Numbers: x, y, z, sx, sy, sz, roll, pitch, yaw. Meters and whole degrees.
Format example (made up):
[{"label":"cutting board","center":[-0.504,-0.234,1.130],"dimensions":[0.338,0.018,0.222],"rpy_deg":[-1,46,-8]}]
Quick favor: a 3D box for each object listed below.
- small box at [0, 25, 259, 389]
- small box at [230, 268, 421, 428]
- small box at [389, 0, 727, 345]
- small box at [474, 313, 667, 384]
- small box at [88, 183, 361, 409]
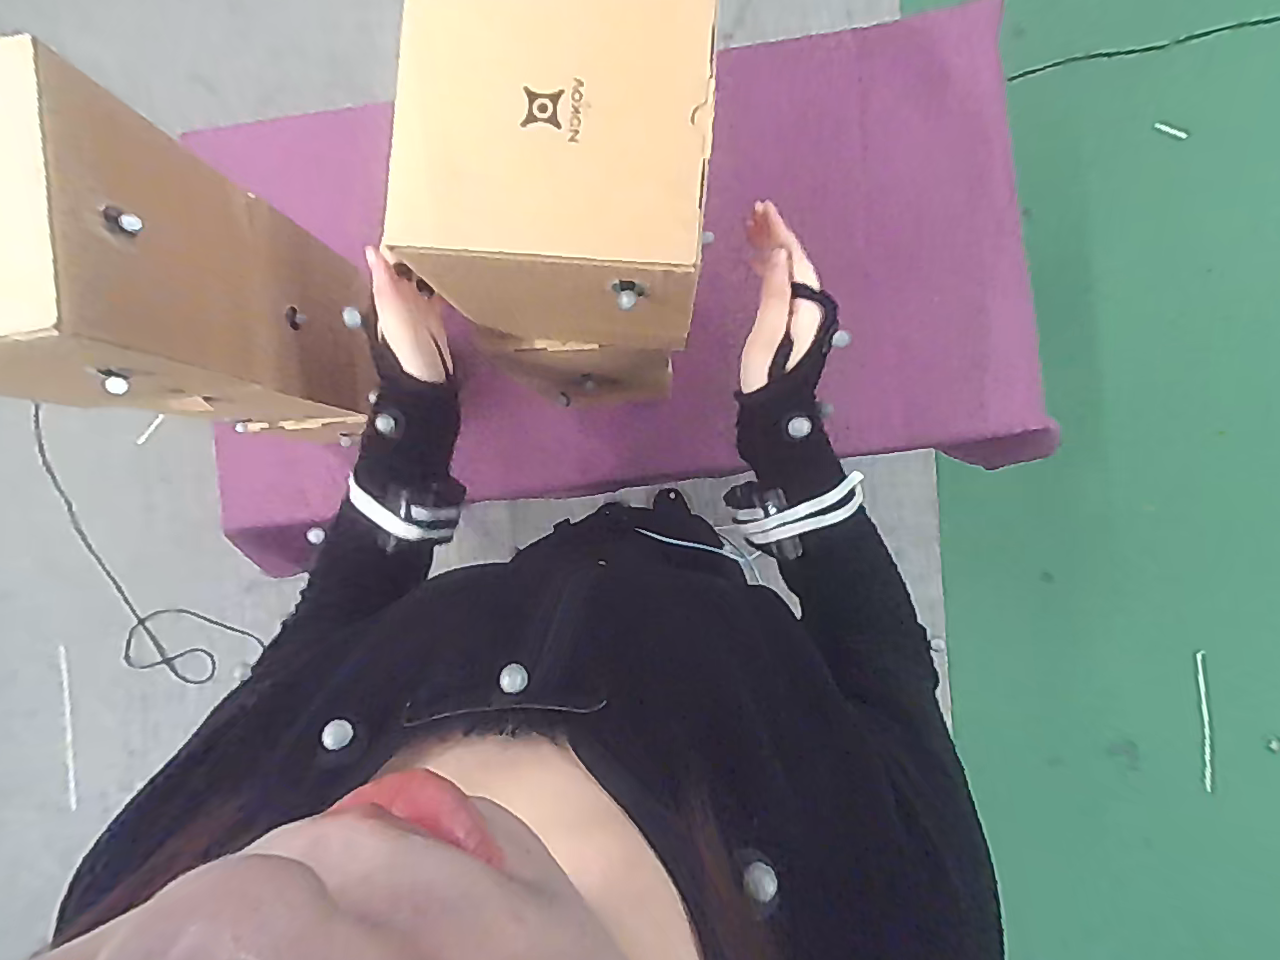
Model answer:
[{"label":"small box","center":[-0.411,-0.165,0.388],"dimensions":[0.168,0.176,0.179],"rpy_deg":[-5,89,1]},{"label":"small box","center":[-0.405,-0.161,0.715],"dimensions":[0.168,0.176,0.179],"rpy_deg":[-4,91,1]},{"label":"small box","center":[-0.043,-0.200,0.377],"dimensions":[0.179,0.176,0.168],"rpy_deg":[5,90,1]},{"label":"small box","center":[-0.059,-0.200,0.540],"dimensions":[0.168,0.176,0.179],"rpy_deg":[-1,90,2]},{"label":"small box","center":[-0.407,-0.168,0.550],"dimensions":[0.168,0.176,0.179],"rpy_deg":[-3,89,1]}]
